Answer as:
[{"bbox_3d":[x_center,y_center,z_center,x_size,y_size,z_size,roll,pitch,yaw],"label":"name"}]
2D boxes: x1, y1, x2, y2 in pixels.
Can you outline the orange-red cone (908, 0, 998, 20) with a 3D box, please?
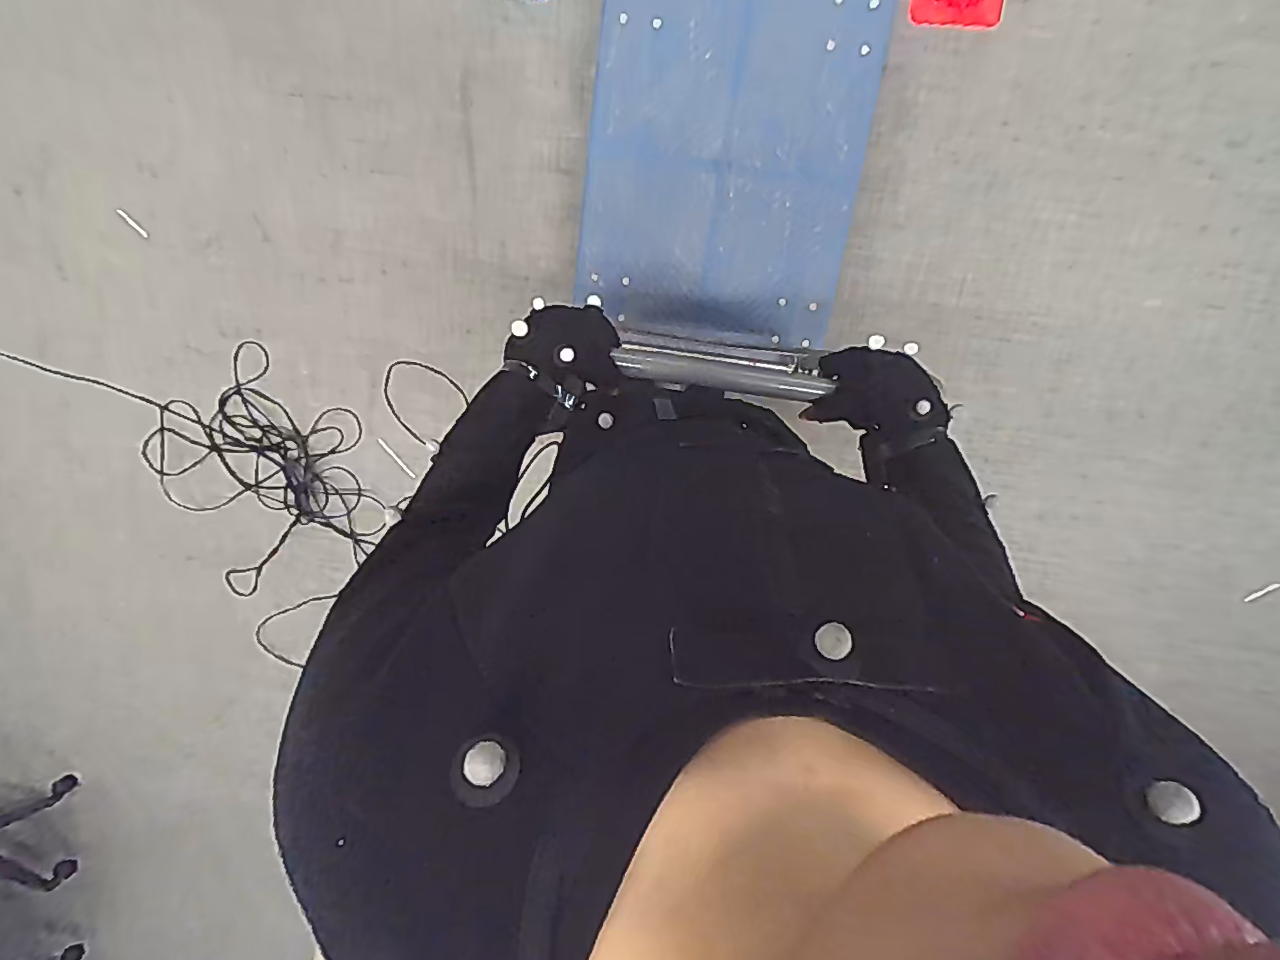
[{"bbox_3d":[0.694,-1.098,1.028,0.199,0.360,0.198,7,103,3],"label":"orange-red cone"}]
